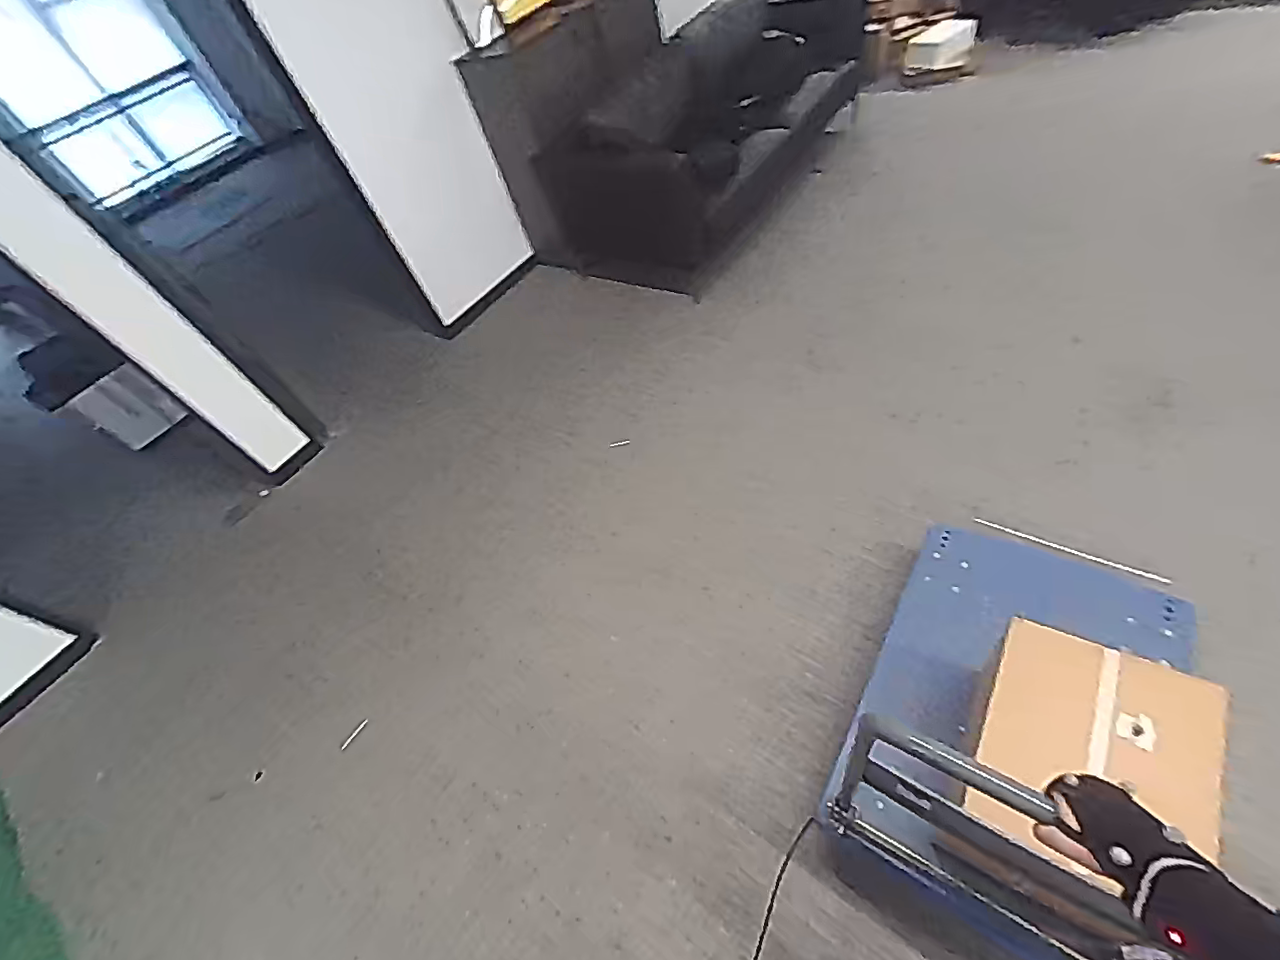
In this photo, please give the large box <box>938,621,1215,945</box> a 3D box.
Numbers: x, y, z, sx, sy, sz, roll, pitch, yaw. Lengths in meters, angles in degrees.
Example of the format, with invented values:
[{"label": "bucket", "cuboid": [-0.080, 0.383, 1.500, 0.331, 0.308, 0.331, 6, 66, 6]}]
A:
[{"label": "large box", "cuboid": [0.799, 0.559, 1.023, 0.320, 0.320, 0.408, 19, 59, 30]}]
